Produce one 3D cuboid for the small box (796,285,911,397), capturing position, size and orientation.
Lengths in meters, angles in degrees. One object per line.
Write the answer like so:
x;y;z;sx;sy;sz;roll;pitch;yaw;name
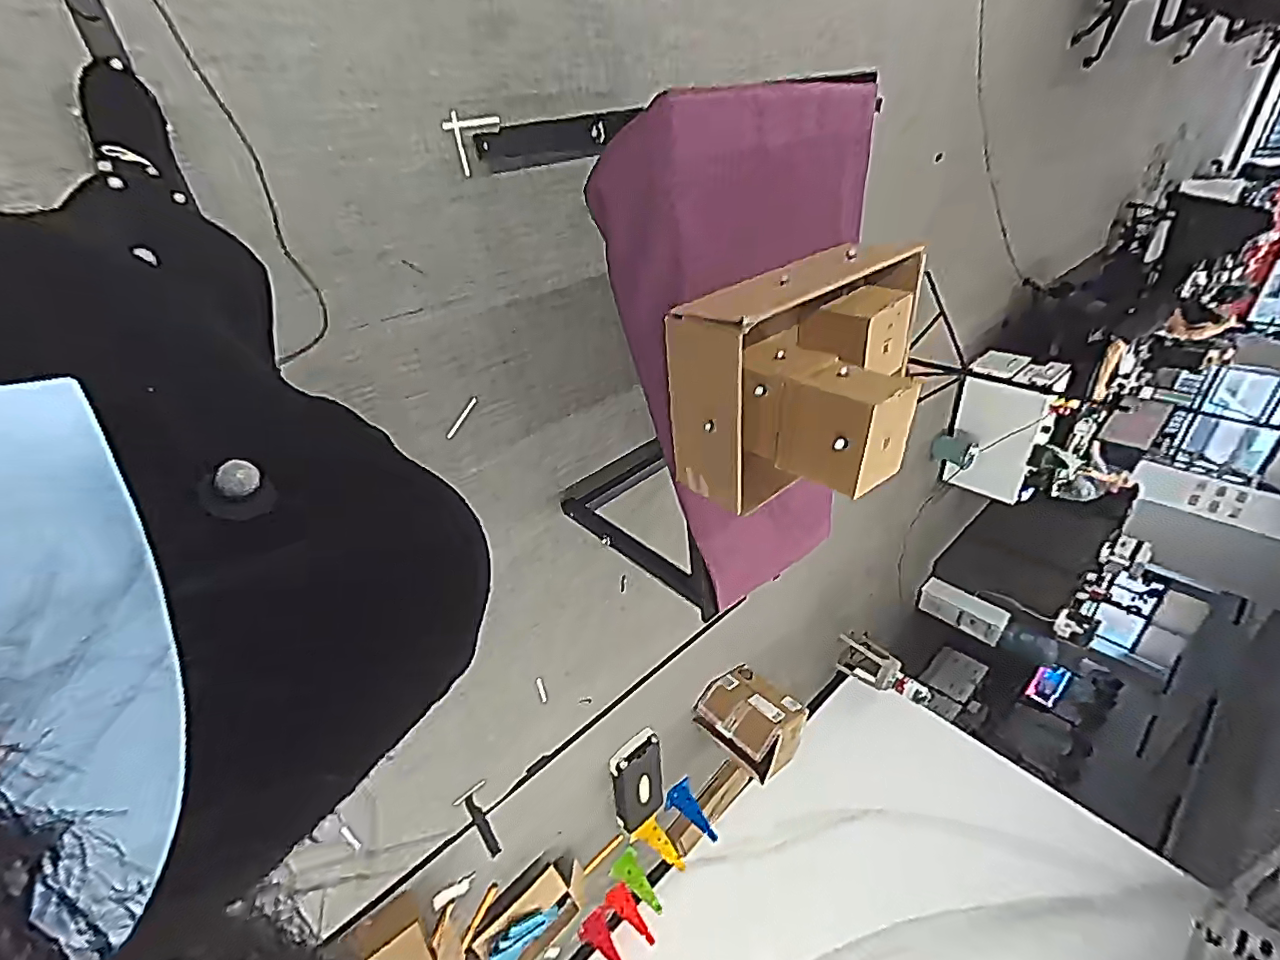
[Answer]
0.465;-0.314;1.201;0.168;0.176;0.179;-31;132;-28;small box
